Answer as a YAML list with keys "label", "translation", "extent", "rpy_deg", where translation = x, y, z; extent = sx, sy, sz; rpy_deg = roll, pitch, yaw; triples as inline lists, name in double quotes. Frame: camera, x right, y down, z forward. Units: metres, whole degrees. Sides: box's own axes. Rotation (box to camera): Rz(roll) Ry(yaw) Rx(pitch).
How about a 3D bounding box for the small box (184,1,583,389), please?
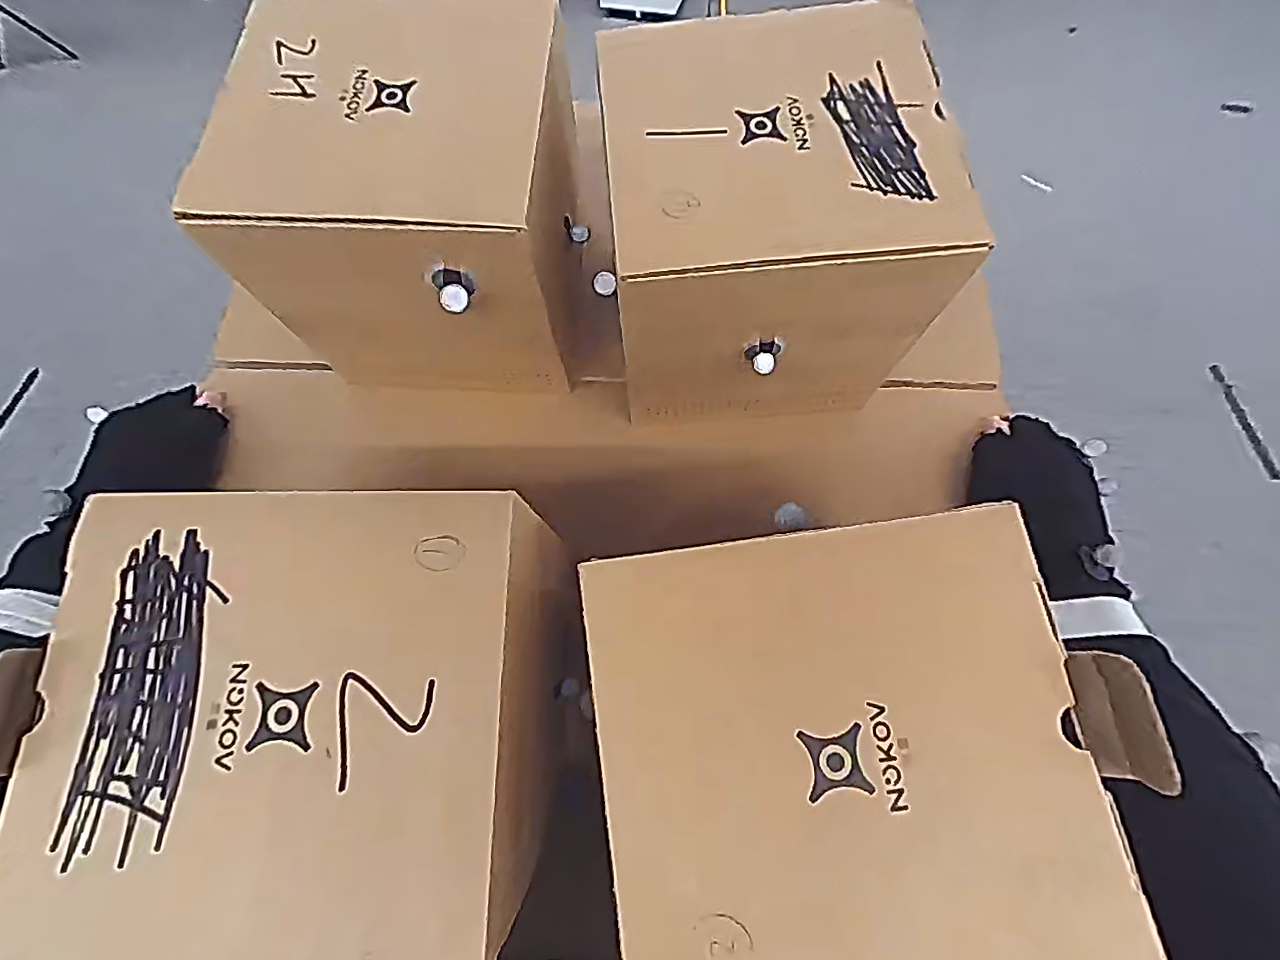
- label: "small box"
  translation: [-0.138, -0.174, 0.370]
  extent: [0.179, 0.176, 0.168]
  rpy_deg: [3, 71, 2]

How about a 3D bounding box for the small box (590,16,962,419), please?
- label: "small box"
  translation: [0.065, -0.152, 0.357]
  extent: [0.179, 0.176, 0.168]
  rpy_deg: [-5, 72, 1]
